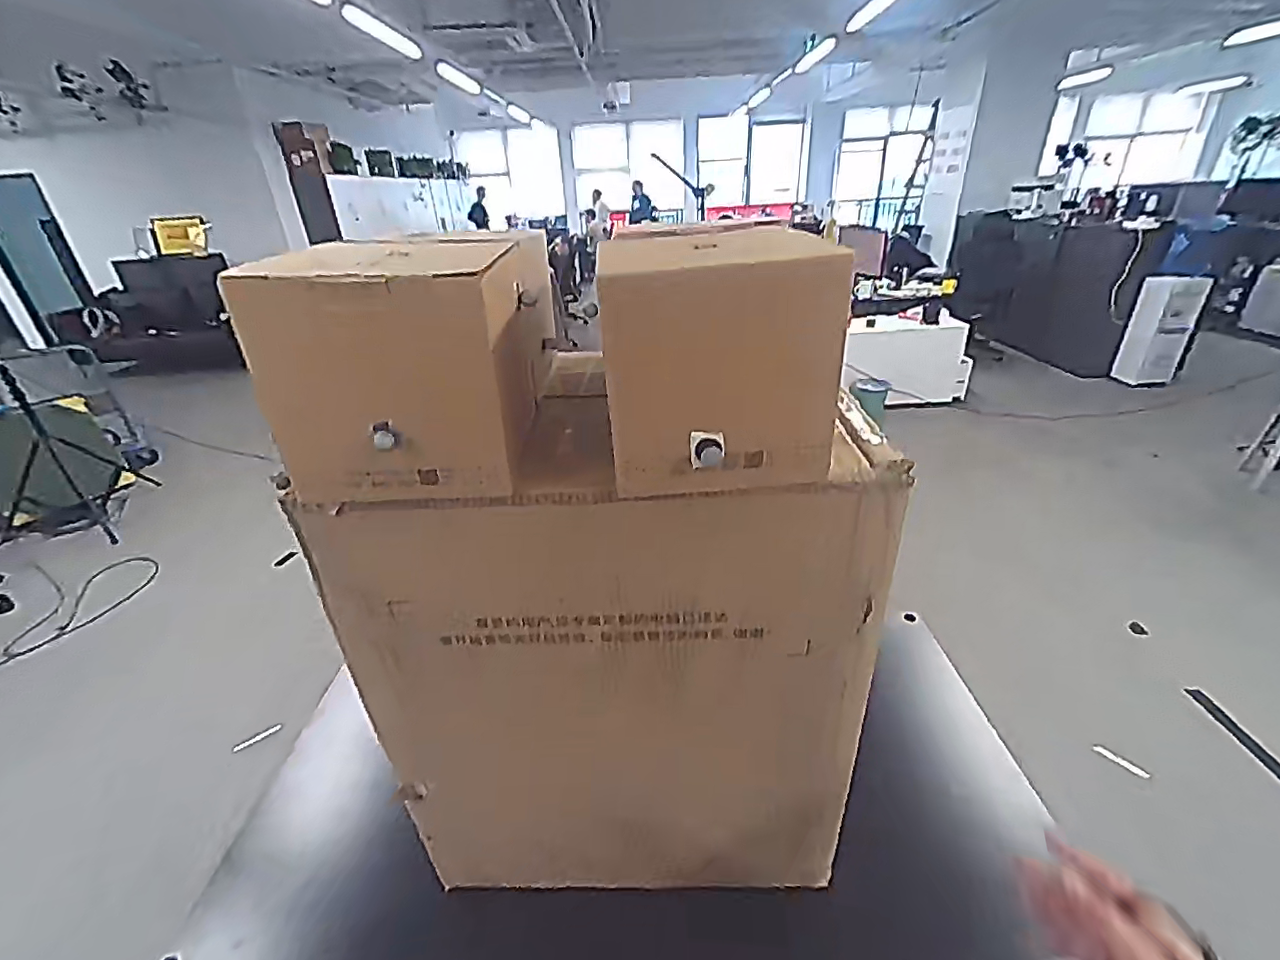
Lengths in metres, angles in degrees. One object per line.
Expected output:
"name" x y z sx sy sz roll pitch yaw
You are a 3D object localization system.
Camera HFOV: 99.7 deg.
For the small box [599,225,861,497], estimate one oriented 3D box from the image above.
"small box" 0.057 -0.104 0.444 0.168 0.176 0.179 -6 31 -1
